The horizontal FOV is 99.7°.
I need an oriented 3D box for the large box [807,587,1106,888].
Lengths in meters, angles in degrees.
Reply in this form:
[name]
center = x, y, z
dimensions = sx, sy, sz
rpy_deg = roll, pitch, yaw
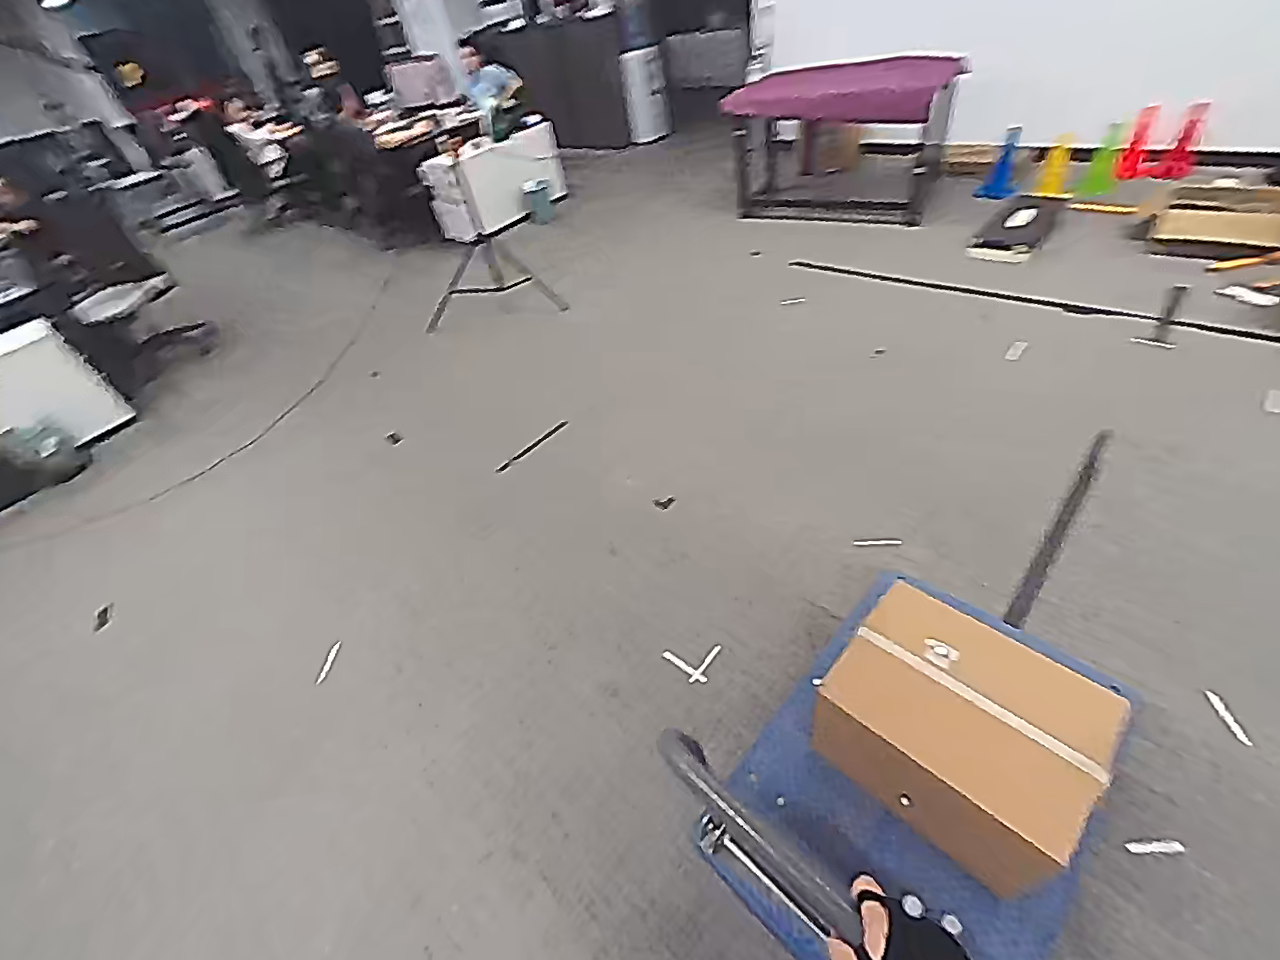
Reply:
[large box]
center = 0.593, 0.498, 1.082
dimensions = 0.408, 0.320, 0.320
rpy_deg = 28, 57, 36
